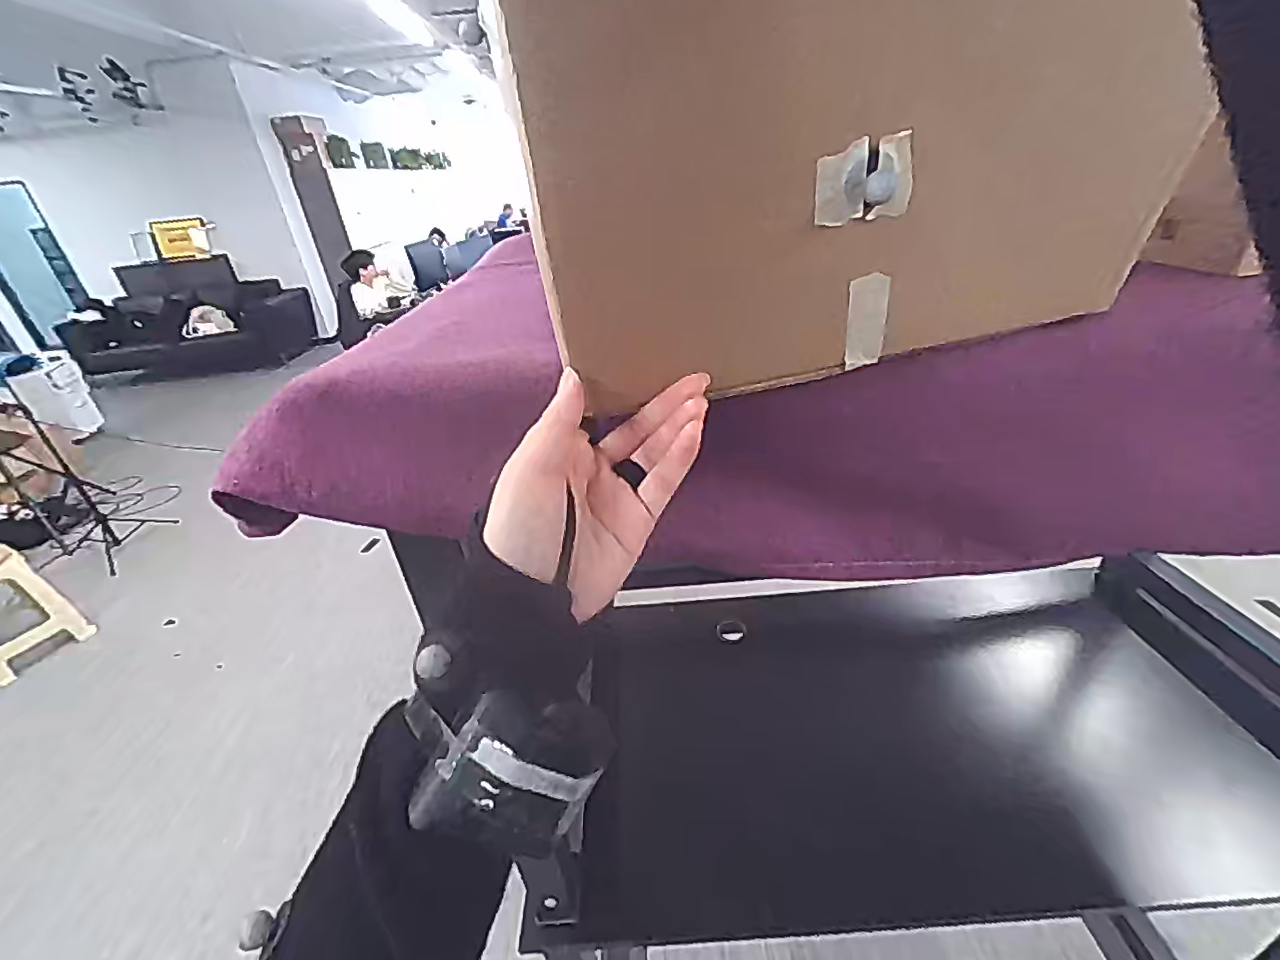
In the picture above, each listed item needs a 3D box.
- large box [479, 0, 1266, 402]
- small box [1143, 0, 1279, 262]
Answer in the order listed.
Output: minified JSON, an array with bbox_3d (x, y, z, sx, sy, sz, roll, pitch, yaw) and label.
[{"bbox_3d":[0.062,-0.301,0.329,0.320,0.320,0.408,-12,42,-7],"label":"large box"},{"bbox_3d":[0.469,-0.259,0.379,0.179,0.176,0.168,-5,28,4],"label":"small box"}]
